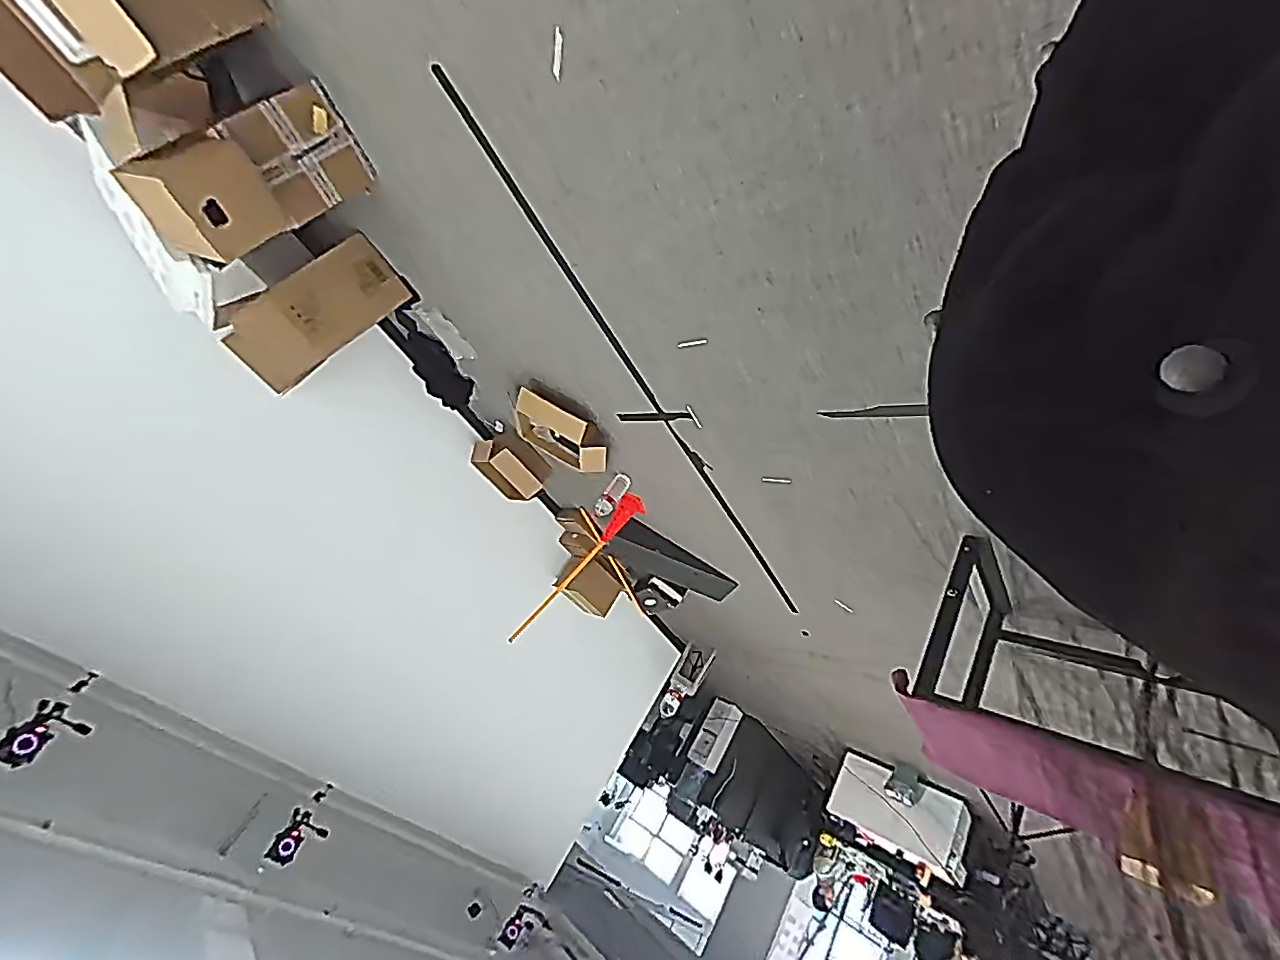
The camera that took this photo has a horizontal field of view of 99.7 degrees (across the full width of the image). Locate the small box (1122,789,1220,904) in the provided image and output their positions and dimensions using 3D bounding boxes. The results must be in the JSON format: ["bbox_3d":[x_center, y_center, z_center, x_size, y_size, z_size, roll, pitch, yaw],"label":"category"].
[{"bbox_3d":[1.374,0.944,1.402,0.168,0.176,0.179,6,143,45],"label":"small box"}]
